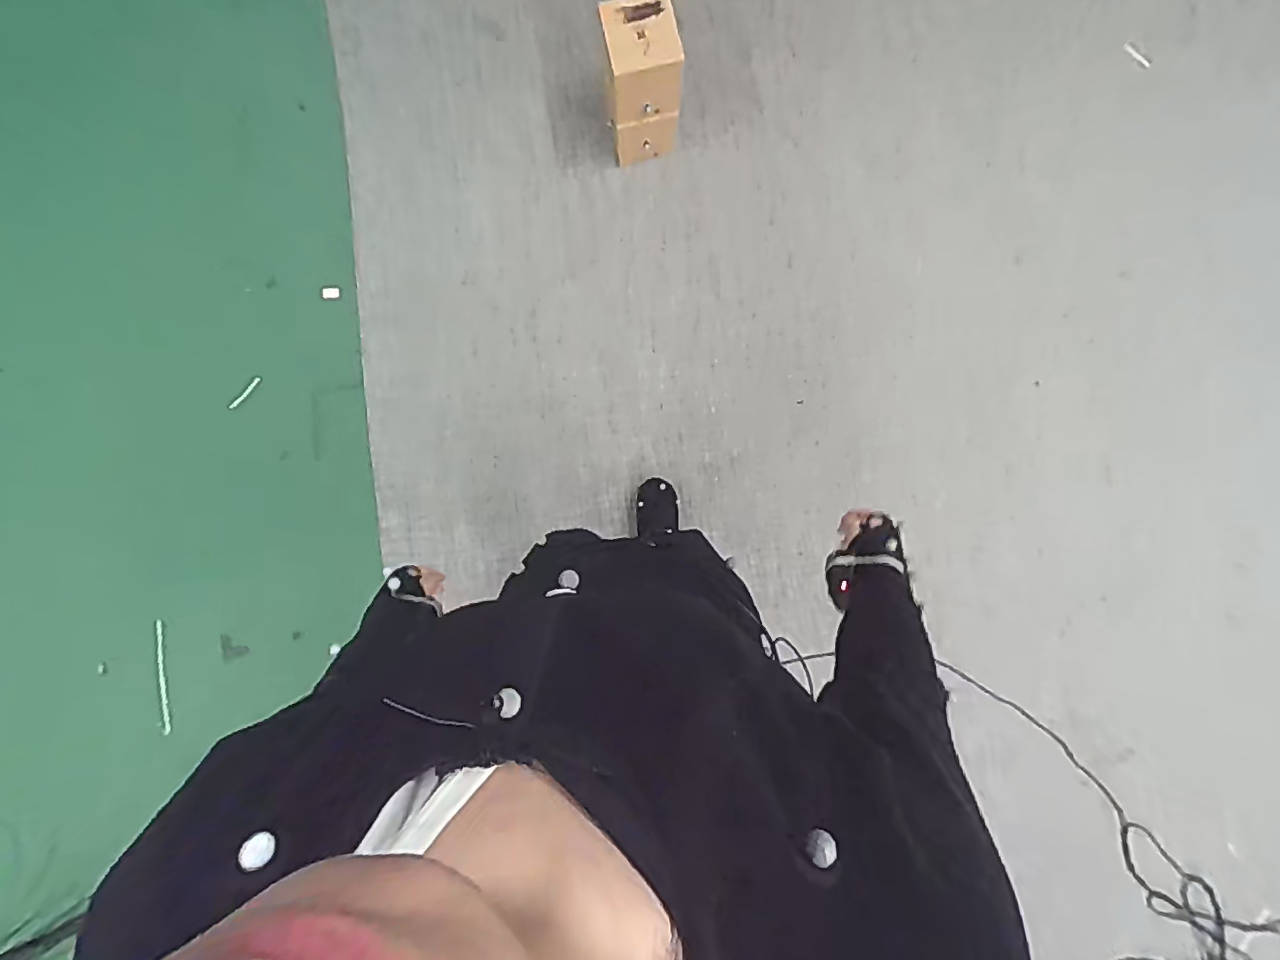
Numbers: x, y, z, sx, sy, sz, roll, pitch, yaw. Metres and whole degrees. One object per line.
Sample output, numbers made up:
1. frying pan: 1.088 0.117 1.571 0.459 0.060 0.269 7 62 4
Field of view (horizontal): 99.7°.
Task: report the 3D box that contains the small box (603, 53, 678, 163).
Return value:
1. small box: 0.004 -0.992 1.465 0.168 0.176 0.179 -13 88 0
